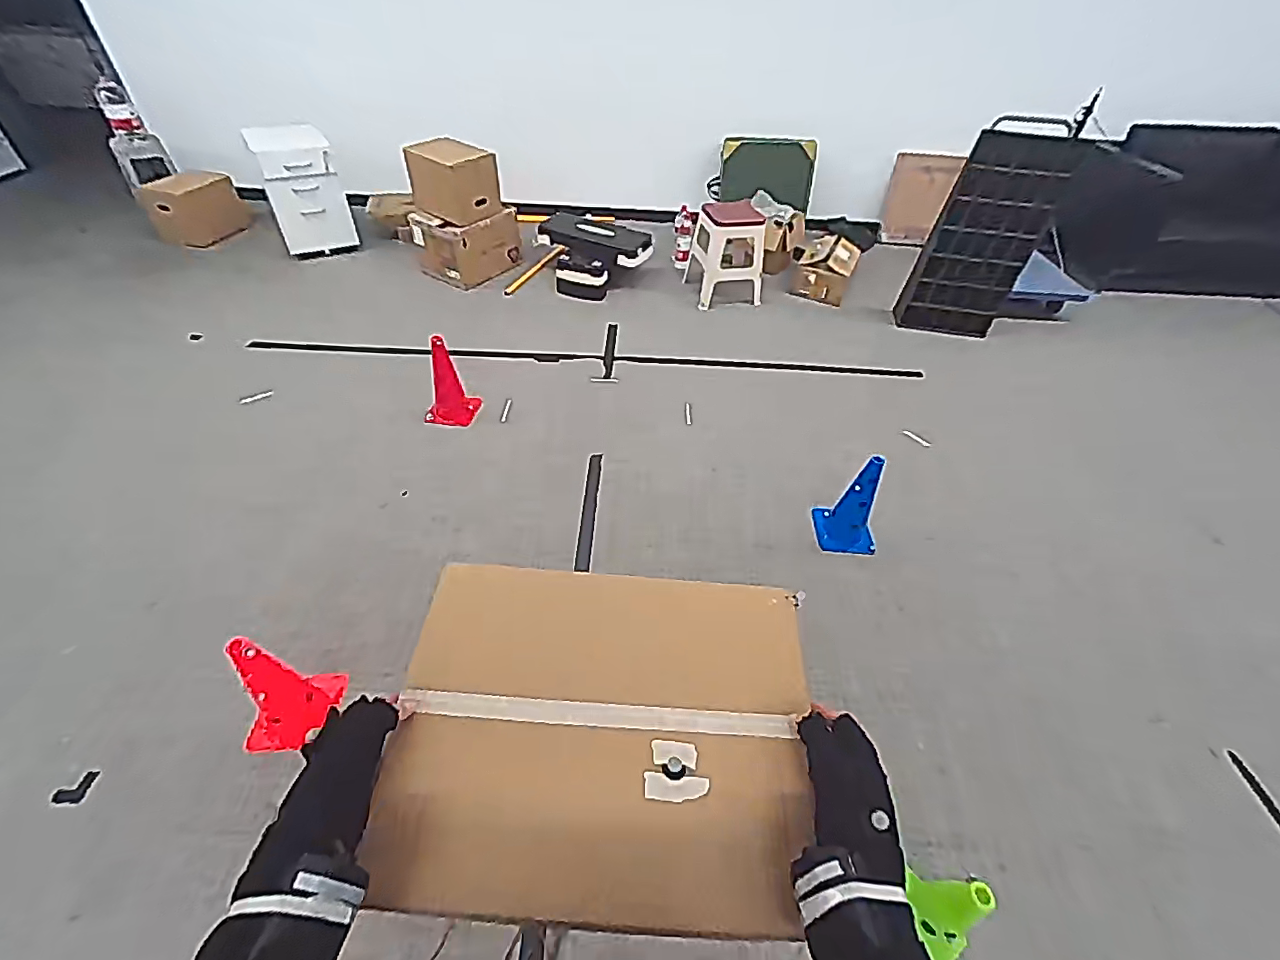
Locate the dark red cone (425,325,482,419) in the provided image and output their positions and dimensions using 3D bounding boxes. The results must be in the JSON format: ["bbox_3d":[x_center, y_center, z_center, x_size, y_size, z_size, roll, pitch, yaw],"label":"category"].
[{"bbox_3d":[-0.789,-0.447,2.214,0.201,0.394,0.202,8,45,2],"label":"dark red cone"}]

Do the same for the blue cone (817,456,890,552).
[{"bbox_3d":[0.761,0.067,1.860,0.192,0.380,0.193,6,45,0],"label":"blue cone"}]

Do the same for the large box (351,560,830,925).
[{"bbox_3d":[-0.043,0.320,0.649,0.408,0.320,0.320,5,50,-1],"label":"large box"}]

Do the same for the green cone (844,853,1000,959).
[{"bbox_3d":[0.583,0.836,1.049,0.202,0.368,0.200,-25,52,-28],"label":"green cone"}]

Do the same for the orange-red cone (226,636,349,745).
[{"bbox_3d":[-0.890,0.481,1.308,0.198,0.360,0.199,0,46,-2],"label":"orange-red cone"}]
